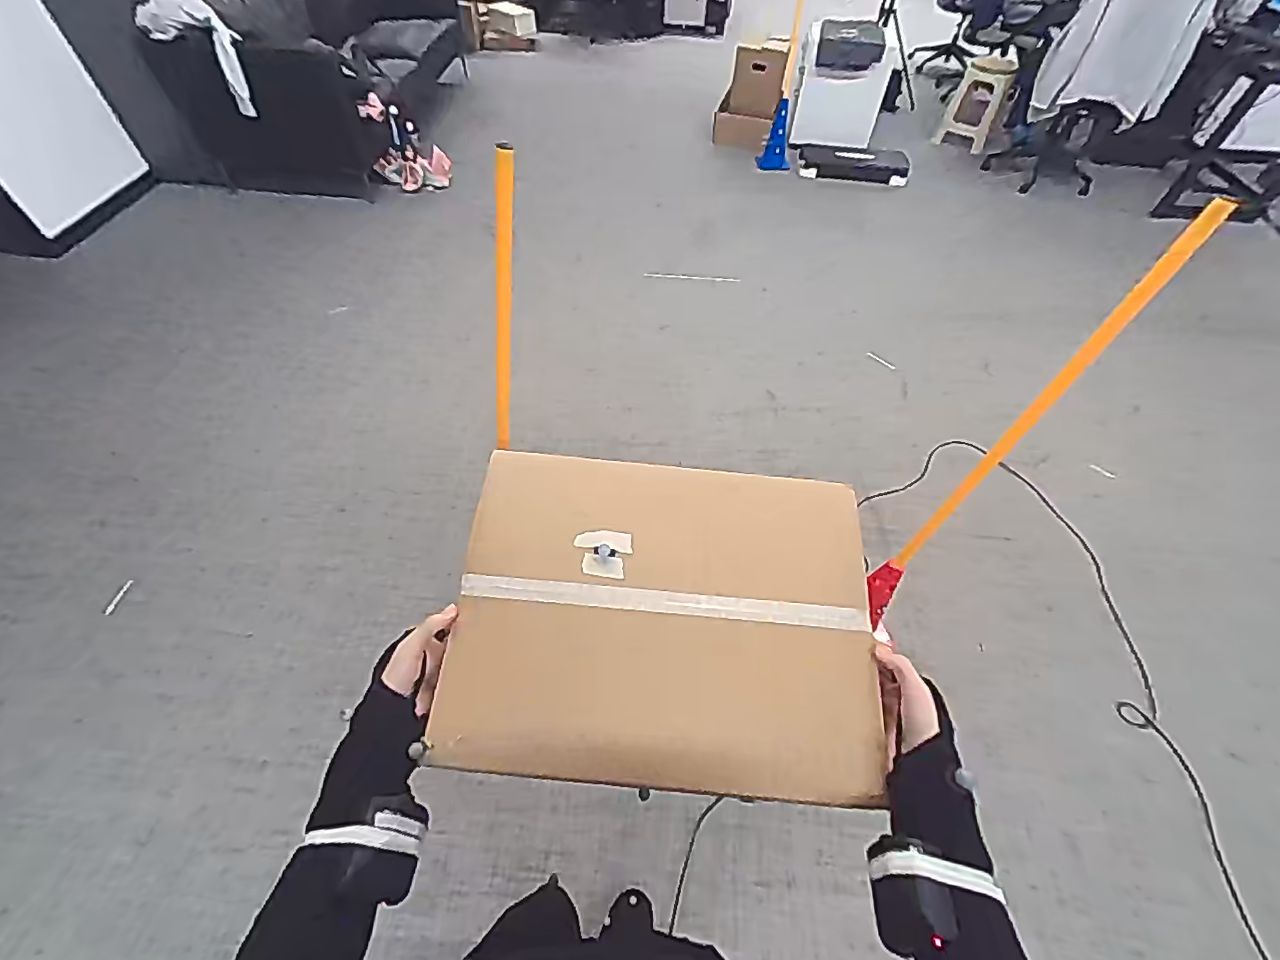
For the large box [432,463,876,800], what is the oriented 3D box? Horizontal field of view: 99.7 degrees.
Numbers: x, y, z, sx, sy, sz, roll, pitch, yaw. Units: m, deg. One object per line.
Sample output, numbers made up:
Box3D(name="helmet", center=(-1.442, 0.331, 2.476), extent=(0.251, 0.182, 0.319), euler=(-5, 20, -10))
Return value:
Box3D(name="large box", center=(0.020, 0.198, 0.677), extent=(0.408, 0.320, 0.320), euler=(5, 61, 0))
